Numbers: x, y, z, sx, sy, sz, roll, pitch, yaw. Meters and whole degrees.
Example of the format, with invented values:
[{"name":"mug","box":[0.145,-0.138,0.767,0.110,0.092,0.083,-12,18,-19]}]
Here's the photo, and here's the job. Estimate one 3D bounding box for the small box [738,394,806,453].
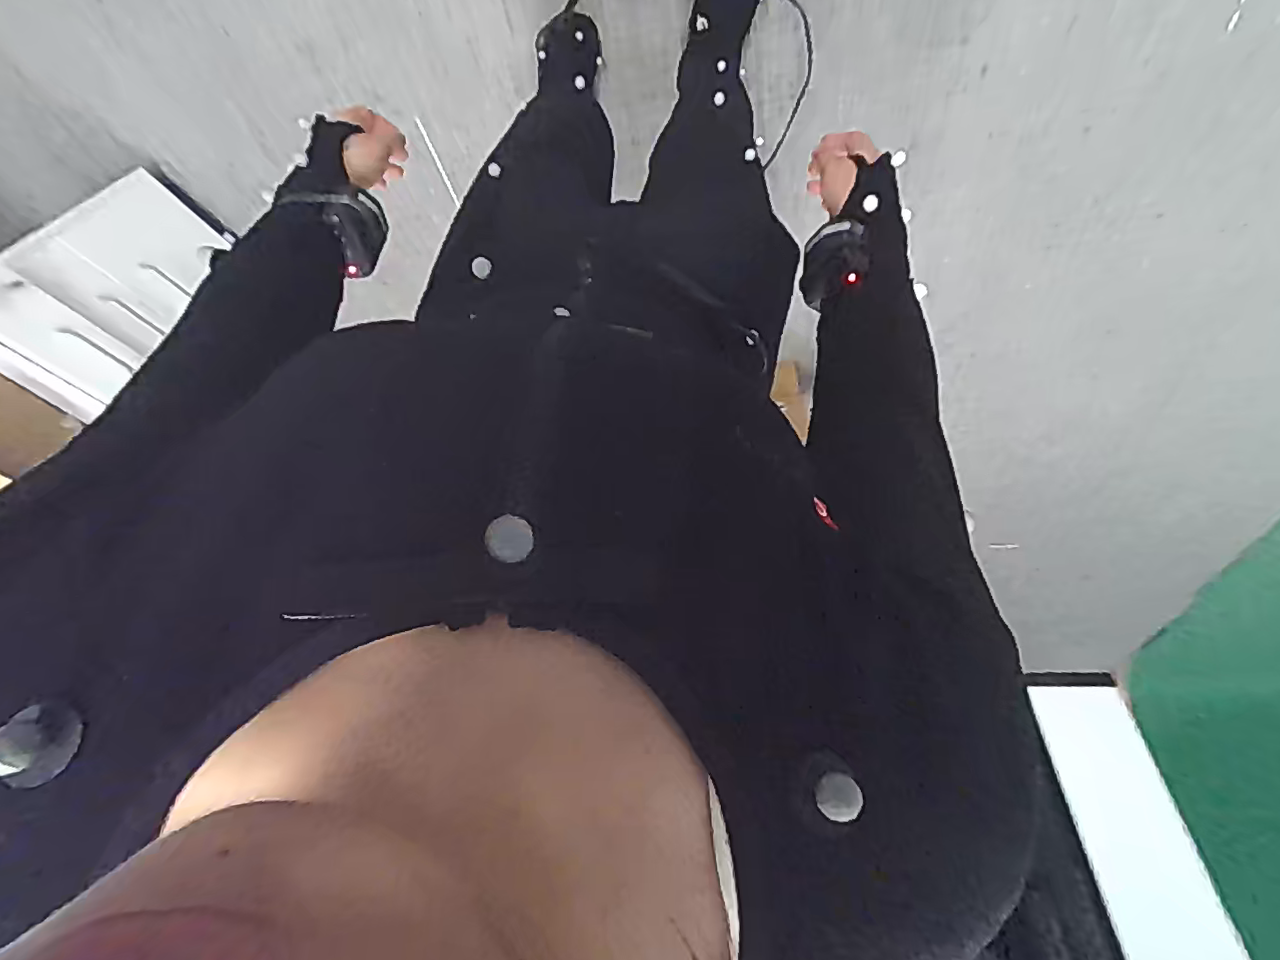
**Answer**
[{"name":"small box","box":[0.362,-0.113,1.492,0.168,0.176,0.179,-5,139,12]}]
